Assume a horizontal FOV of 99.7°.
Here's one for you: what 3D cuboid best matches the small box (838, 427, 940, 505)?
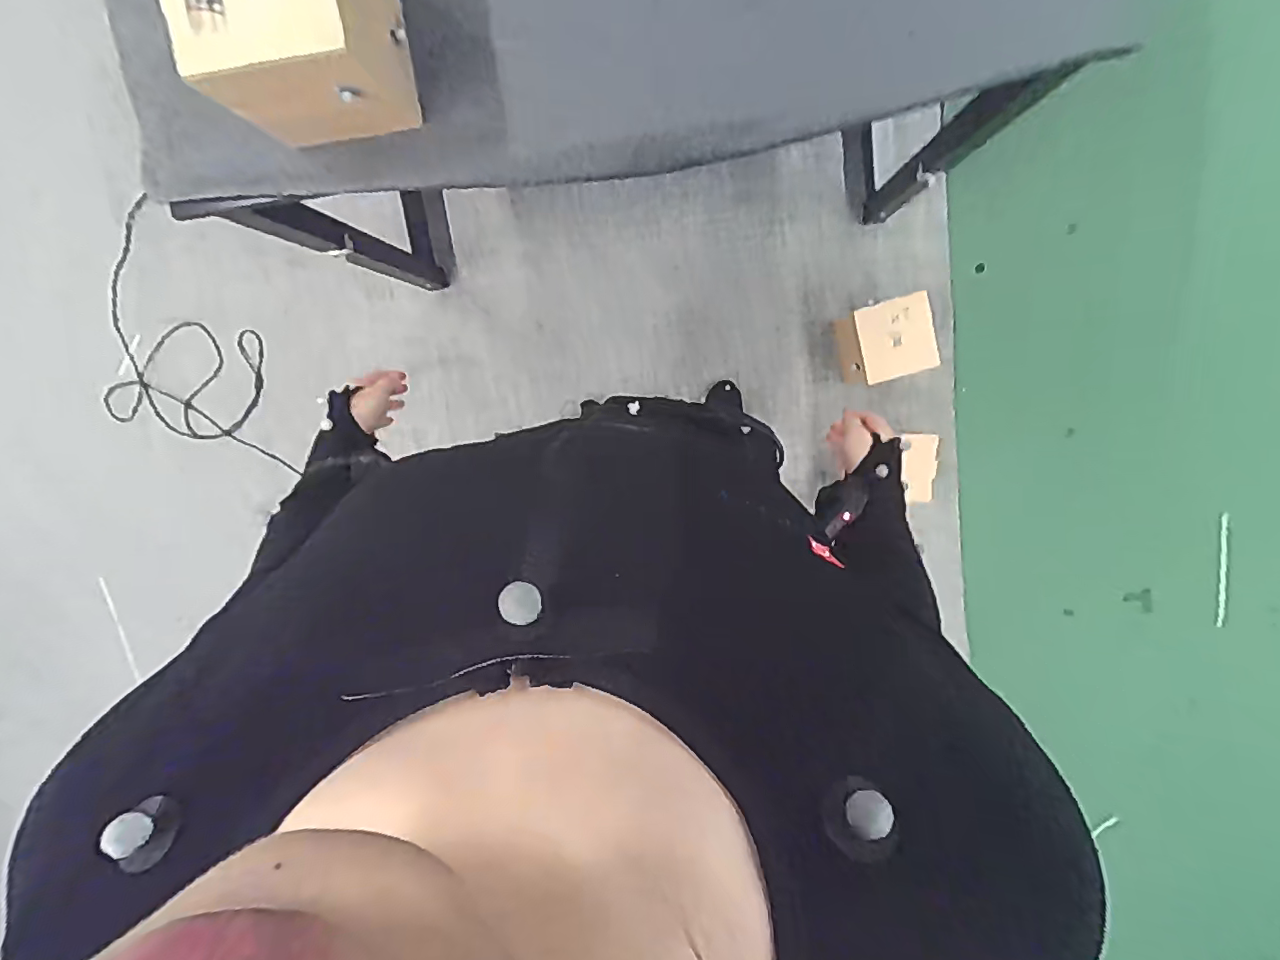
[{"bbox_3d":[0.612,-0.040,1.349,0.179,0.176,0.168,2,101,4],"label":"small box"}]

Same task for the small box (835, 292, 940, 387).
[{"bbox_3d":[0.585,-0.331,1.297,0.168,0.176,0.179,-15,99,6],"label":"small box"}]
